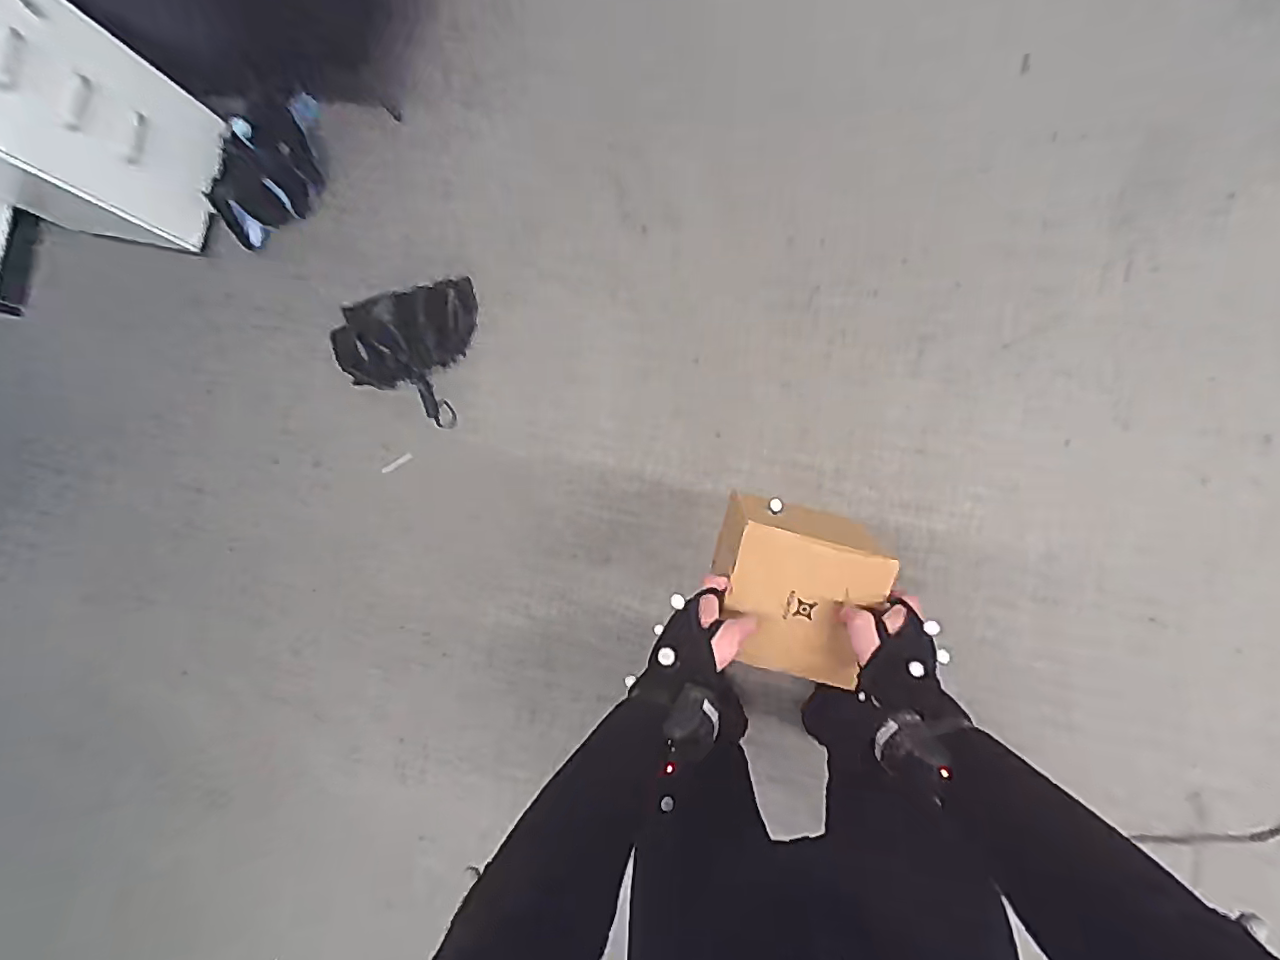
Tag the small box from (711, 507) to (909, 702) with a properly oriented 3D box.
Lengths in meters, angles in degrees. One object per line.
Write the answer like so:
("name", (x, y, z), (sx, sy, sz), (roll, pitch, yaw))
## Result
("small box", (0.194, 0.143, 0.682), (0.179, 0.176, 0.168), (13, 103, -1))
